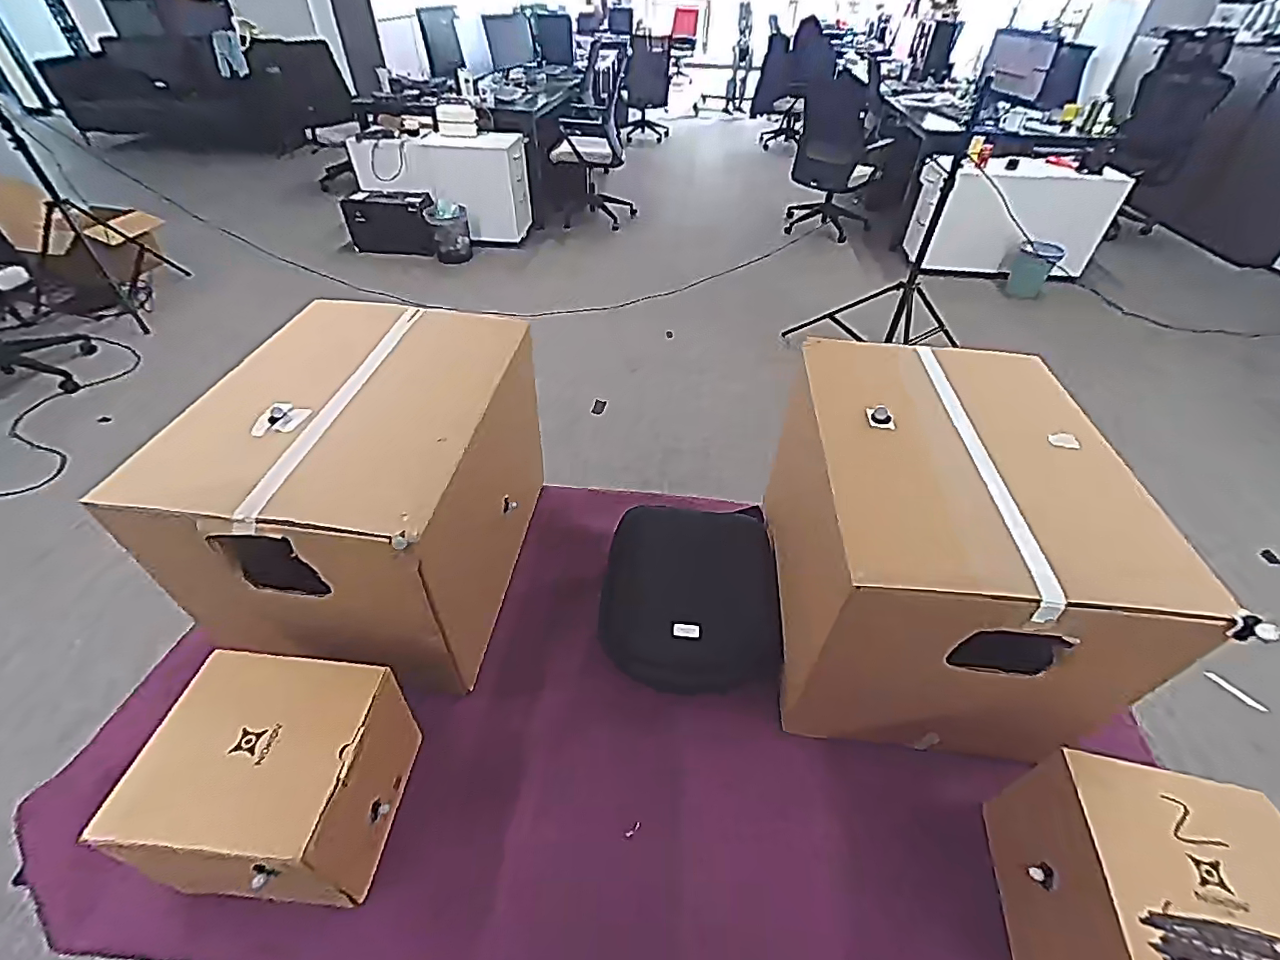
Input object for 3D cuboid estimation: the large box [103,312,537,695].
[{"bbox_3d":[-0.338,0.021,0.736,0.320,0.320,0.408,5,46,2],"label":"large box"}]
